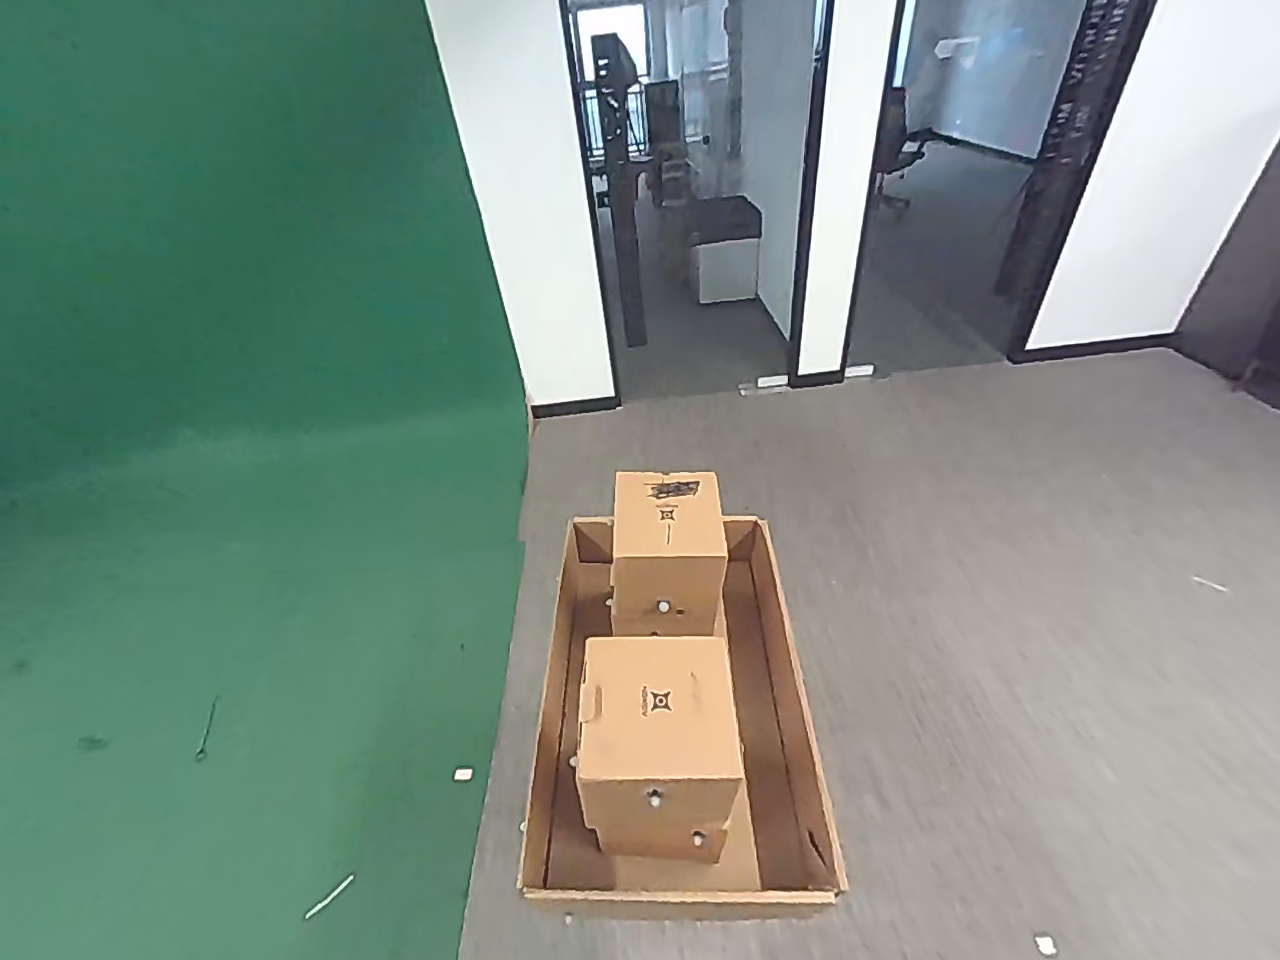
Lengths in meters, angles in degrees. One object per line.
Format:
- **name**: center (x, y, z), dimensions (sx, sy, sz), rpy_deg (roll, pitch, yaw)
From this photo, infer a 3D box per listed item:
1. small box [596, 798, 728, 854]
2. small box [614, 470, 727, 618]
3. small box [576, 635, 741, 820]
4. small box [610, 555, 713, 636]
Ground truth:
- **small box**: center (0.029, 0.425, 0.788), dimensions (0.179, 0.176, 0.168), rpy_deg (3, 43, 2)
- **small box**: center (0.043, 0.104, 0.882), dimensions (0.168, 0.176, 0.179), rpy_deg (0, 46, 0)
- **small box**: center (0.019, 0.310, 0.674), dimensions (0.179, 0.176, 0.168), rpy_deg (0, 44, -1)
- **small box**: center (0.042, 0.218, 1.000), dimensions (0.179, 0.176, 0.168), rpy_deg (0, 45, 1)
